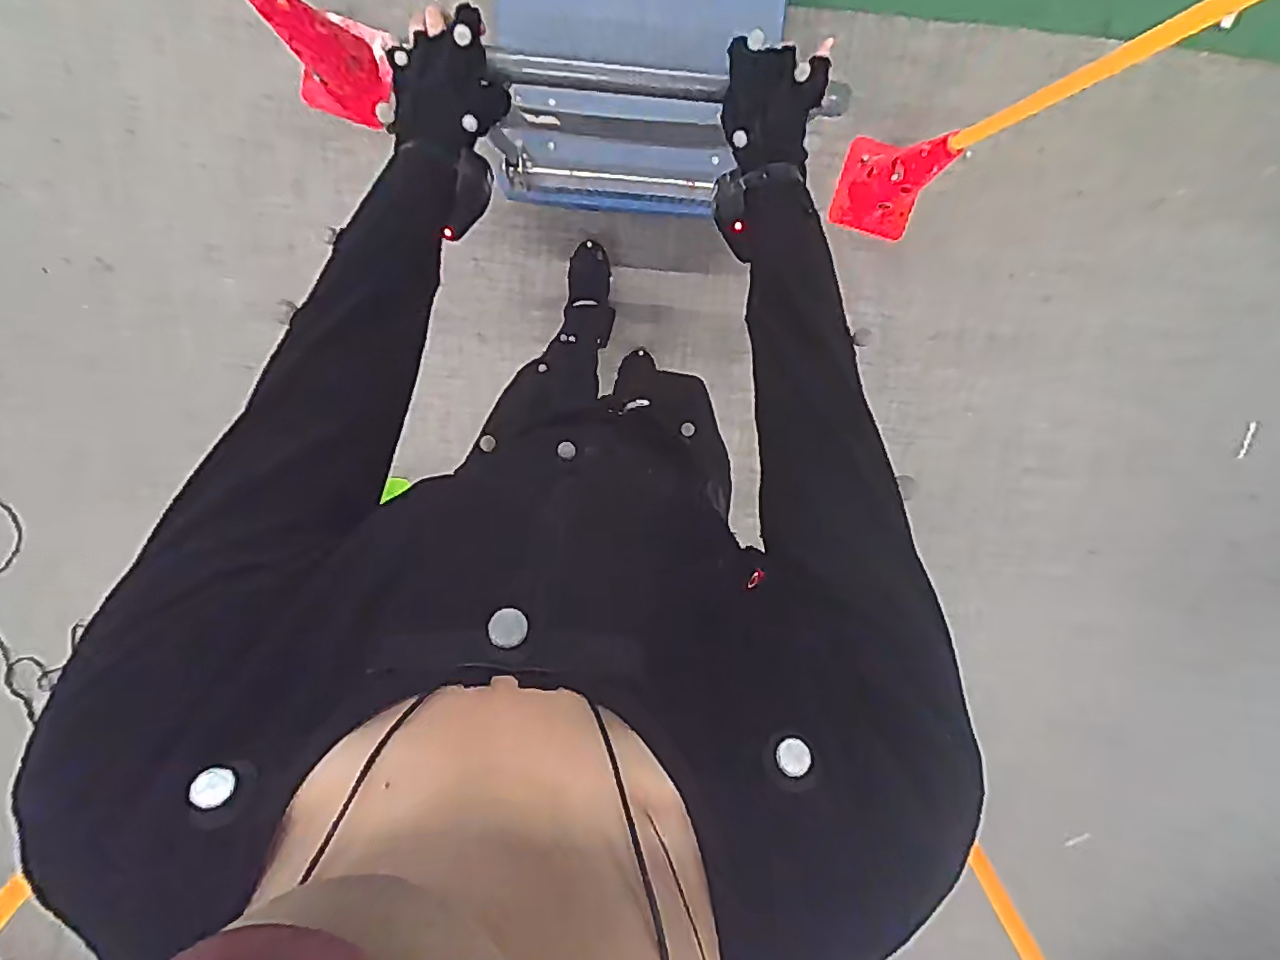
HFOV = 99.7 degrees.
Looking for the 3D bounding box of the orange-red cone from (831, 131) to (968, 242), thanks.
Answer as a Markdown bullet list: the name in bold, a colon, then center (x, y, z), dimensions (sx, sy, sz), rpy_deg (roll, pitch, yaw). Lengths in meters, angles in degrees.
- **orange-red cone**: center (0.585, -0.661, 1.158), dimensions (0.198, 0.360, 0.199), rpy_deg (16, 105, -4)
